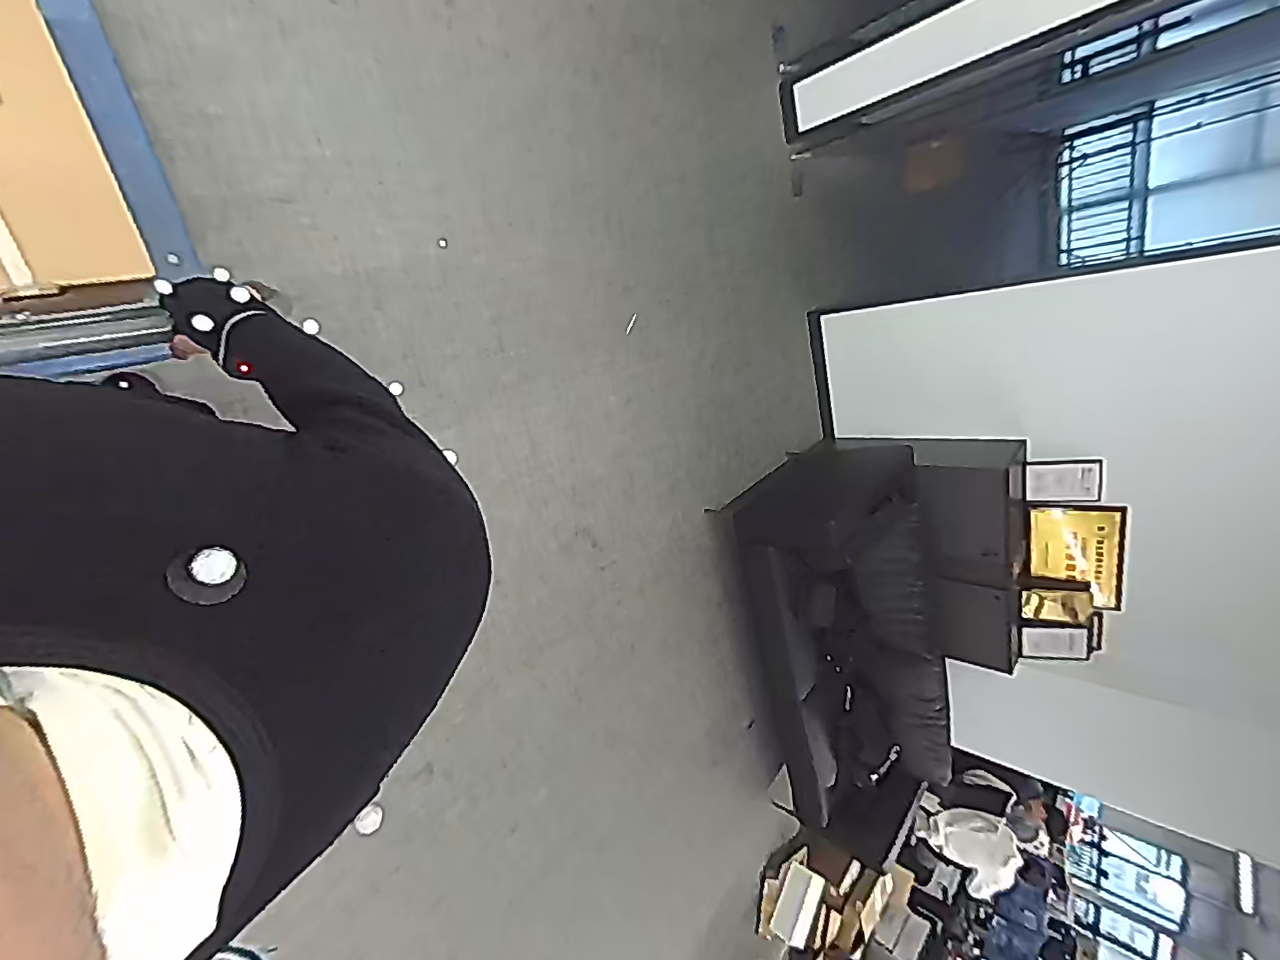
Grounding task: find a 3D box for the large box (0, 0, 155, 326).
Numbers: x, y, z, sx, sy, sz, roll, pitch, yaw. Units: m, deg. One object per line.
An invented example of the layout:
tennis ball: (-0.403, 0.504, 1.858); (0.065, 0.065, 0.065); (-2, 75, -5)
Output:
large box: (-1.046, -0.472, 0.842); (0.320, 0.320, 0.408); (-28, 112, -40)
